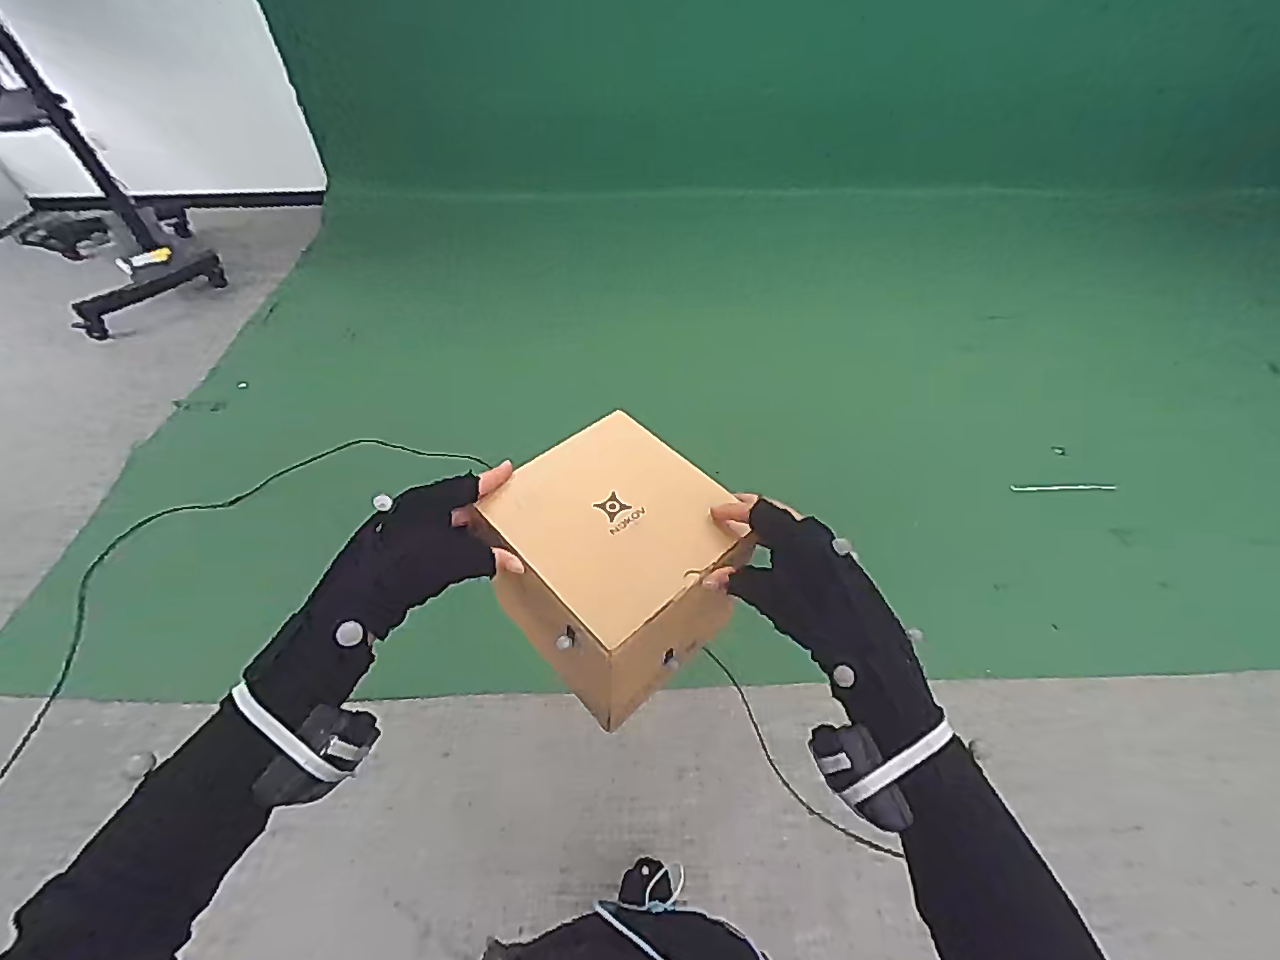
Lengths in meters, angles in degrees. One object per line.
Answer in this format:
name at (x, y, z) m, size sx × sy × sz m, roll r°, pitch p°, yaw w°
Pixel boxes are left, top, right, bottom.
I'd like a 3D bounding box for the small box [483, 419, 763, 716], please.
small box at (-0.020, 0.081, 0.502) m, size 0.168 × 0.176 × 0.179 m, roll -34°, pitch 60°, yaw -28°
